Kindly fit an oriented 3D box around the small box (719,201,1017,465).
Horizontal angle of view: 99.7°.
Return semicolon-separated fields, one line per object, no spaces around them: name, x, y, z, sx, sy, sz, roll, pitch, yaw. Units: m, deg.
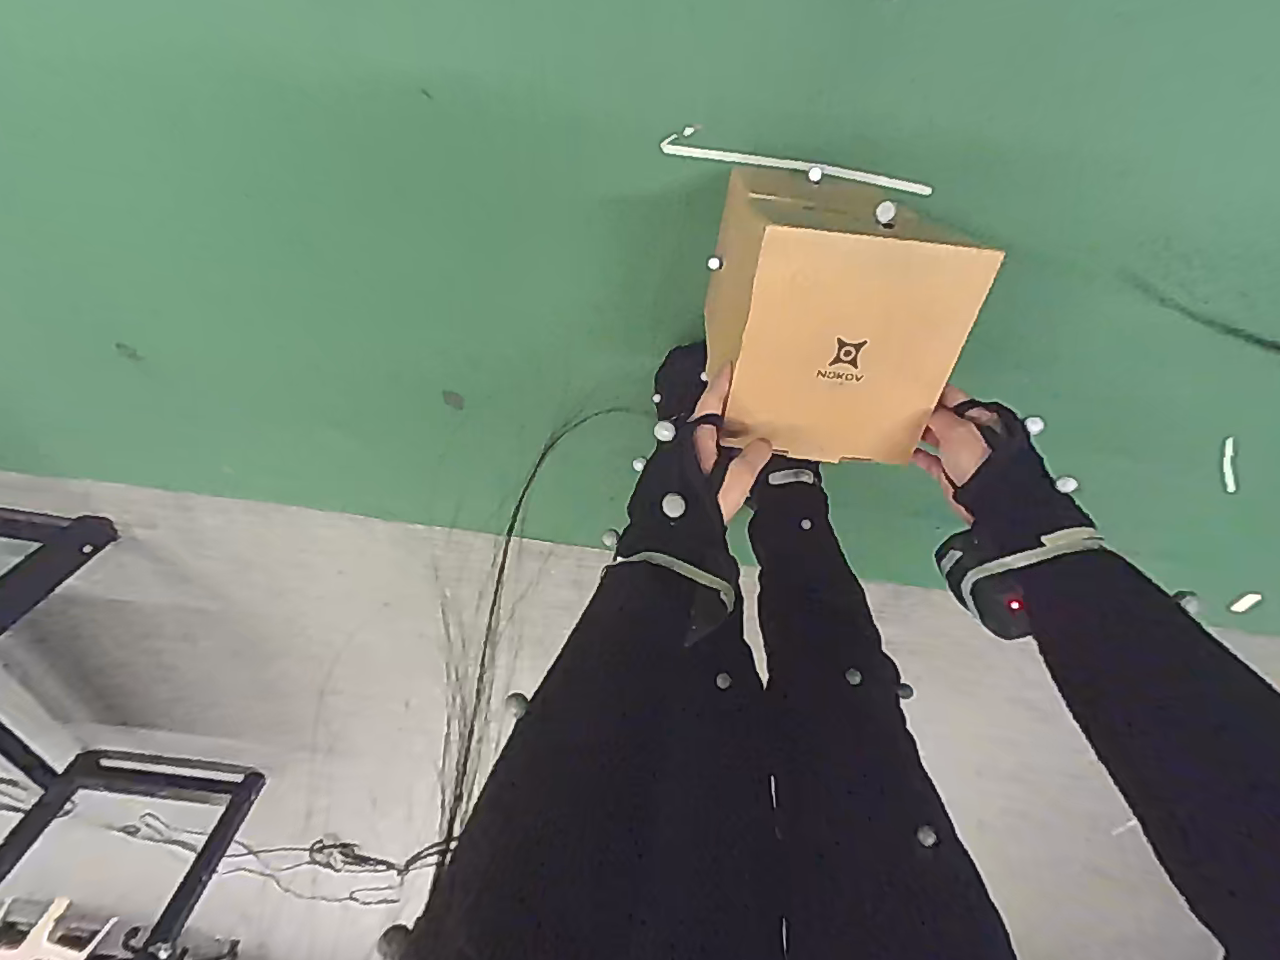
small box;0.169;-0.135;0.475;0.168;0.176;0.179;6;123;-2
